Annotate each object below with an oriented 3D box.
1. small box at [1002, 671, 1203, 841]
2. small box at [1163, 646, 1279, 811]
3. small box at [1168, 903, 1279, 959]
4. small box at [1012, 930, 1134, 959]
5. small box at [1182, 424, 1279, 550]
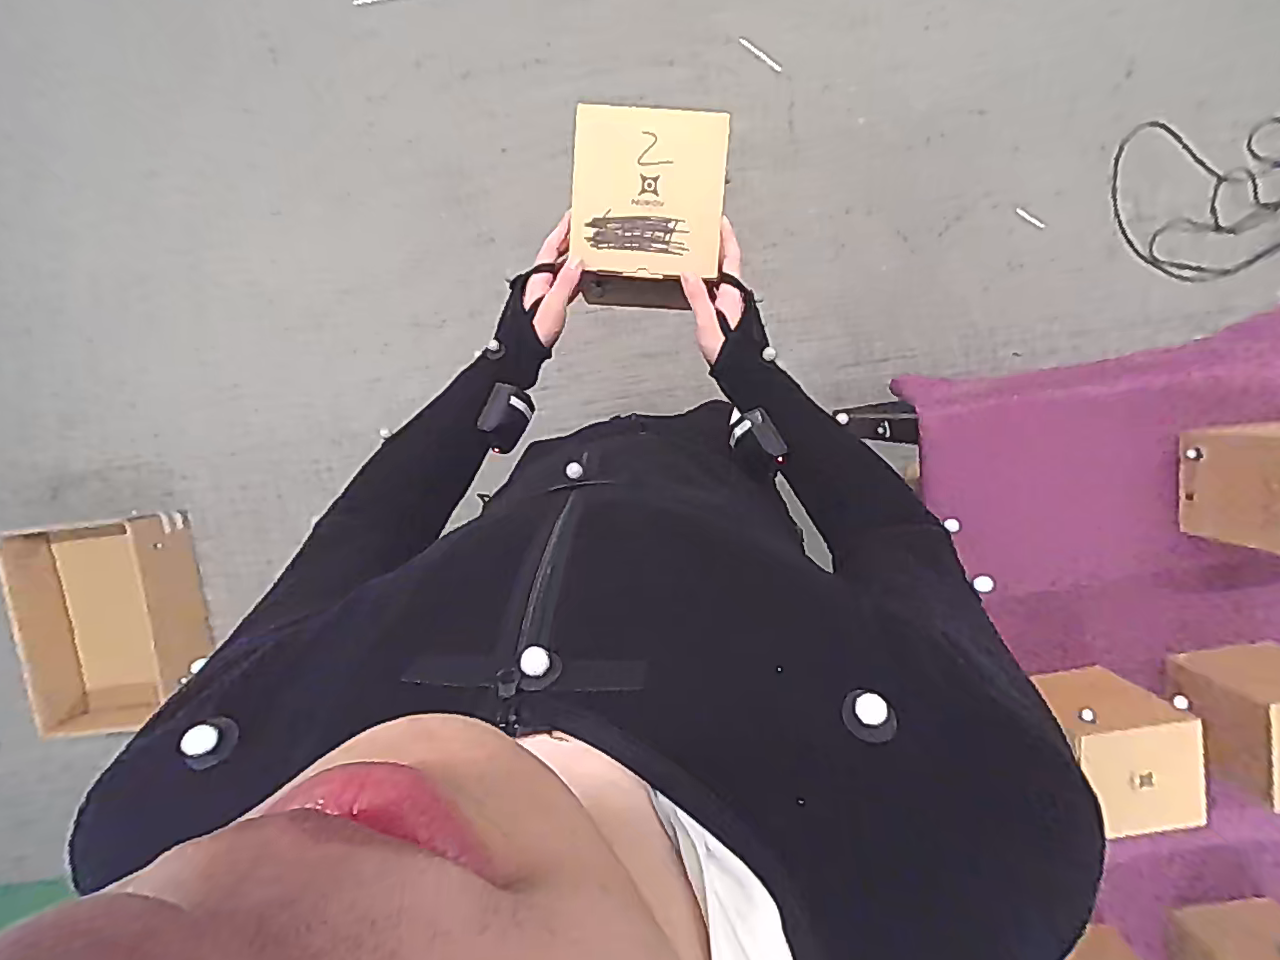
[{"bbox_3d":[0.711,0.418,0.846,0.179,0.176,0.168,-9,96,2],"label":"small box"},{"bbox_3d":[0.974,0.372,0.836,0.179,0.176,0.168,-8,95,3],"label":"small box"},{"bbox_3d":[1.031,0.838,0.883,0.179,0.176,0.168,-9,95,2],"label":"small box"},{"bbox_3d":[0.759,0.892,0.891,0.179,0.176,0.168,-7,94,1],"label":"small box"},{"bbox_3d":[0.956,0.007,0.792,0.179,0.176,0.168,-6,97,3],"label":"small box"}]
